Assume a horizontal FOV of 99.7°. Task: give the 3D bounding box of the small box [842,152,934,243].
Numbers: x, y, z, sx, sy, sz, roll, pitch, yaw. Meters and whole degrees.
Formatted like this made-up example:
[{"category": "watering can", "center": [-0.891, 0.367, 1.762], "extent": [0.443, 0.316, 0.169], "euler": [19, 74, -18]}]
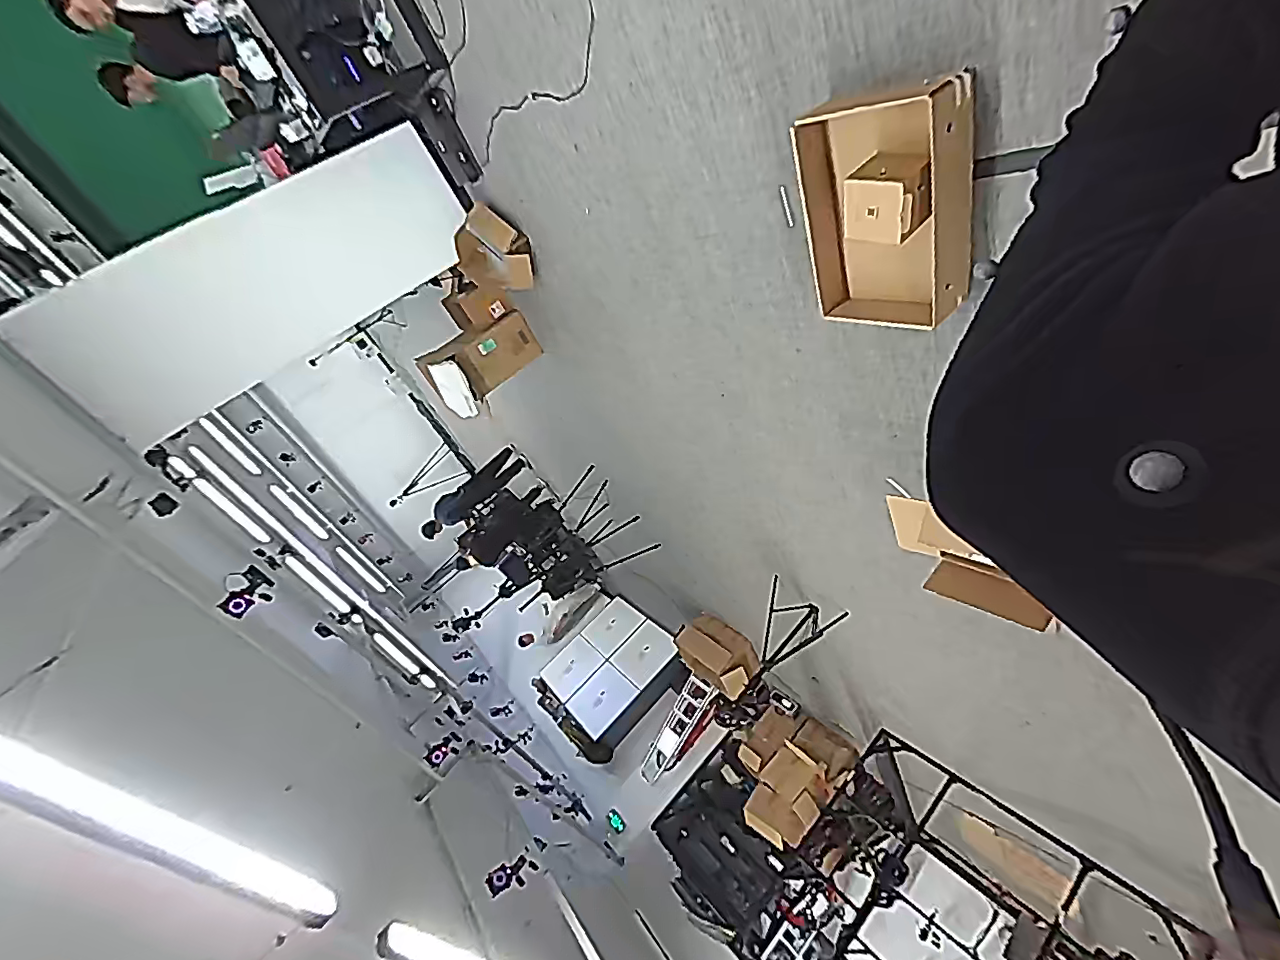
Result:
[{"category": "small box", "center": [0.682, -0.783, 1.492], "extent": [0.179, 0.176, 0.168], "euler": [31, 155, 39]}]
